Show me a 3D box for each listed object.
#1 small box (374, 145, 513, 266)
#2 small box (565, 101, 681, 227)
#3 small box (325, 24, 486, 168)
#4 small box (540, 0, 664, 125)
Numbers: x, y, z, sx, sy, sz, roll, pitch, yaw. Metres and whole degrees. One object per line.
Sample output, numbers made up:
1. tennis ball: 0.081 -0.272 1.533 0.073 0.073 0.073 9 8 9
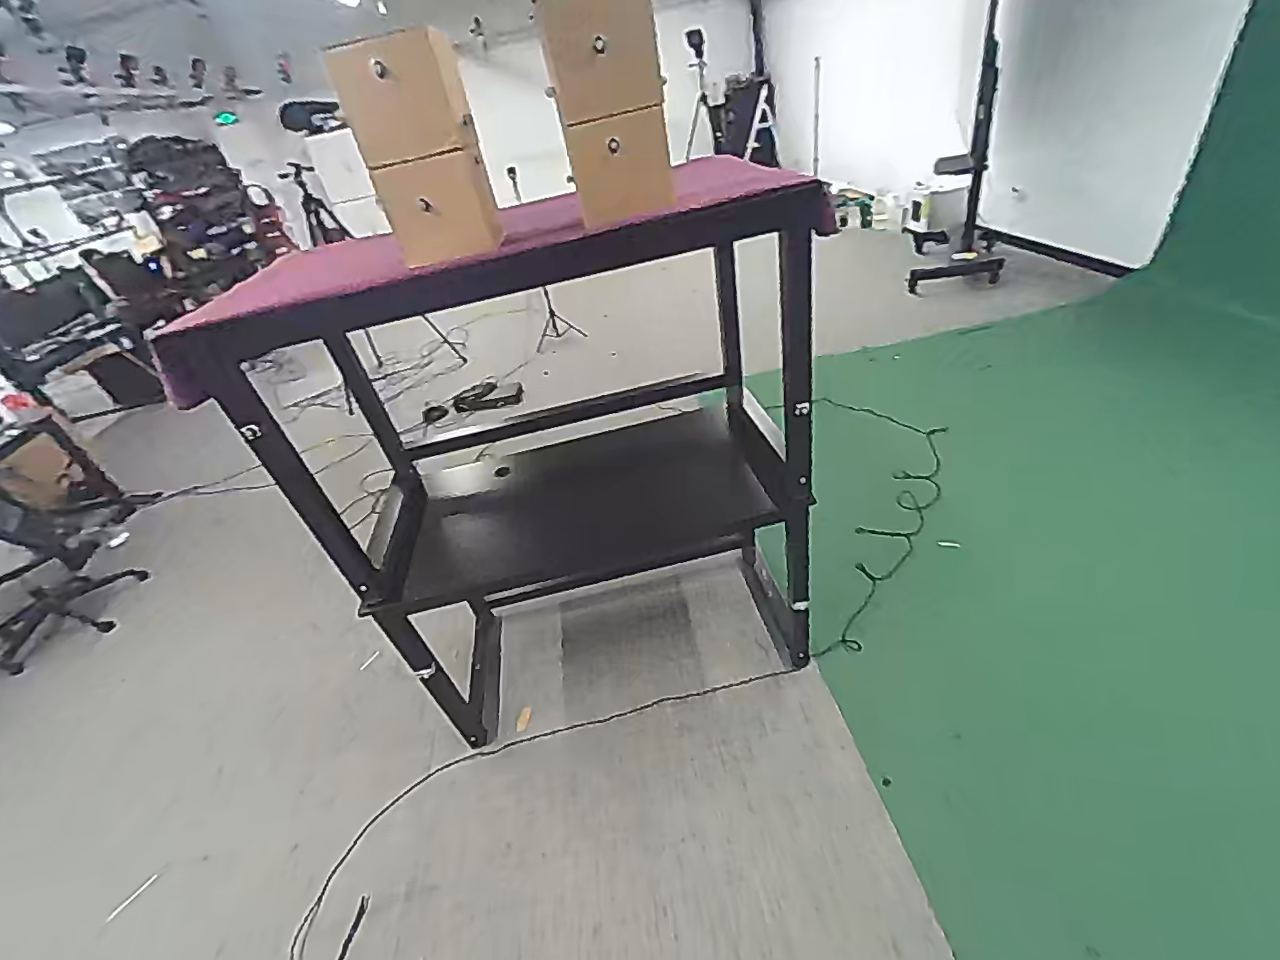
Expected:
1. small box: -0.361 -0.521 1.028 0.179 0.176 0.168 -12 35 2
2. small box: -0.033 -0.593 1.017 0.179 0.176 0.168 -14 36 0
3. small box: -0.390 -0.653 0.935 0.179 0.176 0.168 -10 35 3
4. small box: -0.062 -0.724 0.922 0.179 0.176 0.168 -16 36 -1
